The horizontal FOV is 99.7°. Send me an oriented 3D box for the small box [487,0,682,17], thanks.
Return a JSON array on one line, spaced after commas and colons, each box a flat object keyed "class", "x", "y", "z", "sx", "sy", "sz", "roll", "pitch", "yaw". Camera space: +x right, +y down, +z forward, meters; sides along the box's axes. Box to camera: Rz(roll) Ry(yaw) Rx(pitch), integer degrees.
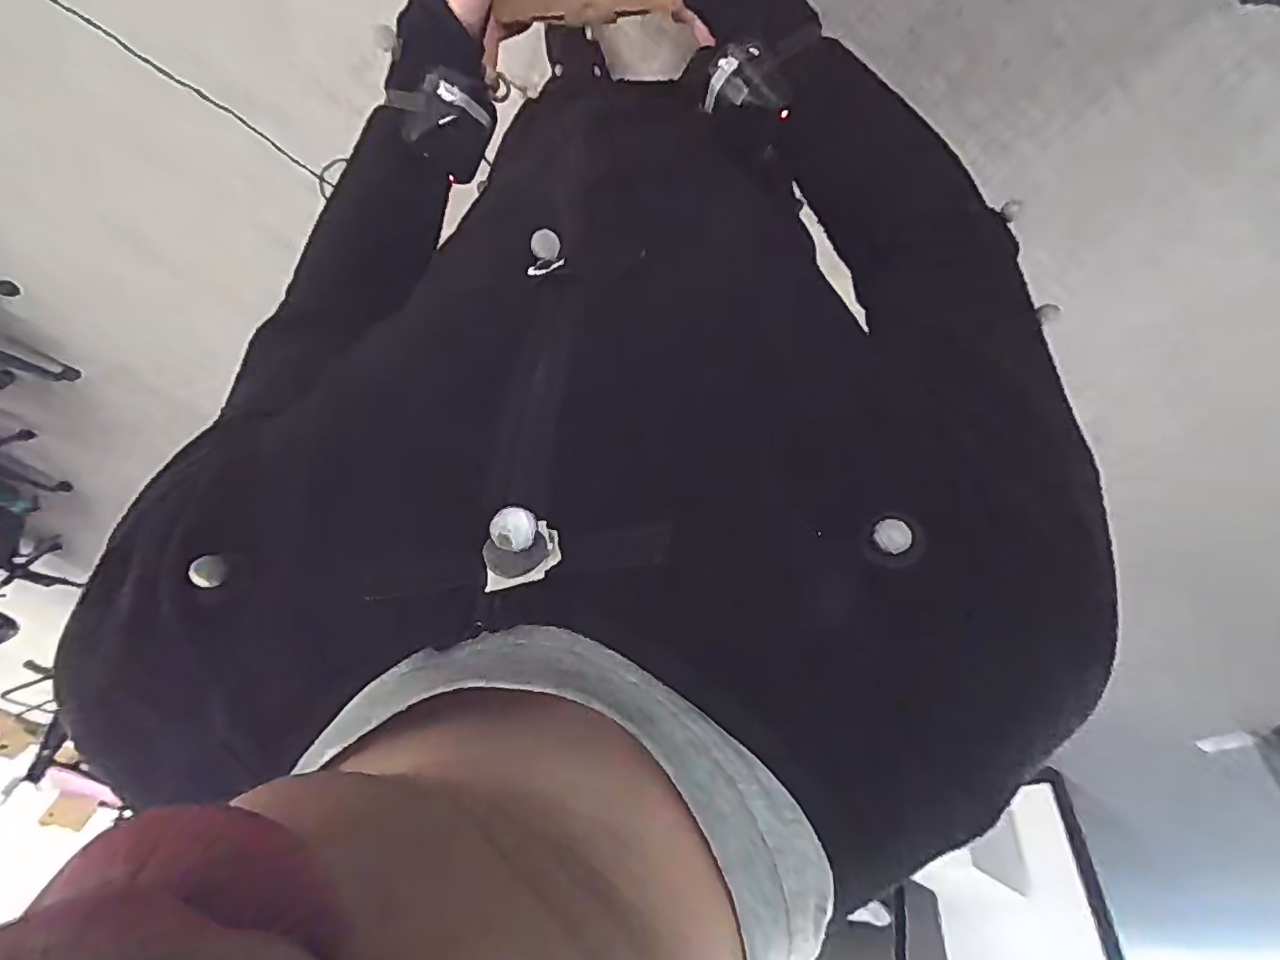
[{"class": "small box", "x": -0.046, "y": -0.503, "z": 0.427, "sx": 0.168, "sy": 0.176, "sz": 0.179, "roll": -2, "pitch": 141, "yaw": 3}]
